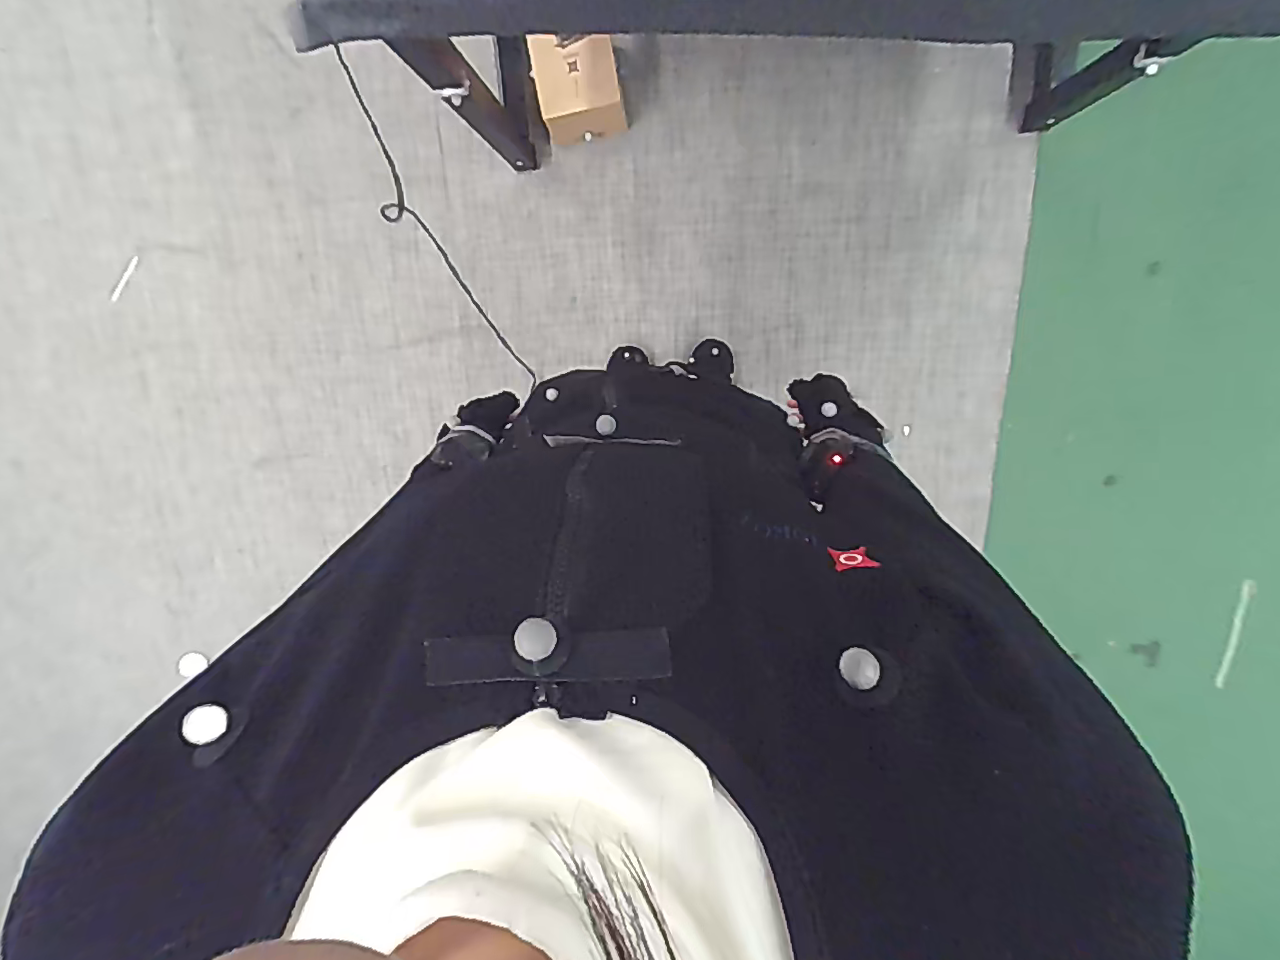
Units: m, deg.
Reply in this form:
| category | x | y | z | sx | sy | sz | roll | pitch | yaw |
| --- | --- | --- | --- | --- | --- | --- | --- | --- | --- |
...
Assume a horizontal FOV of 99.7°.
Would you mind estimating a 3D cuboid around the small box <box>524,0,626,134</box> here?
| category | x | y | z | sx | sy | sz | roll | pitch | yaw |
| --- | --- | --- | --- | --- | --- | --- | --- | --- | --- |
| small box | -0.128 | -0.864 | 1.132 | 0.168 | 0.176 | 0.179 | -9 | 106 | 6 |
